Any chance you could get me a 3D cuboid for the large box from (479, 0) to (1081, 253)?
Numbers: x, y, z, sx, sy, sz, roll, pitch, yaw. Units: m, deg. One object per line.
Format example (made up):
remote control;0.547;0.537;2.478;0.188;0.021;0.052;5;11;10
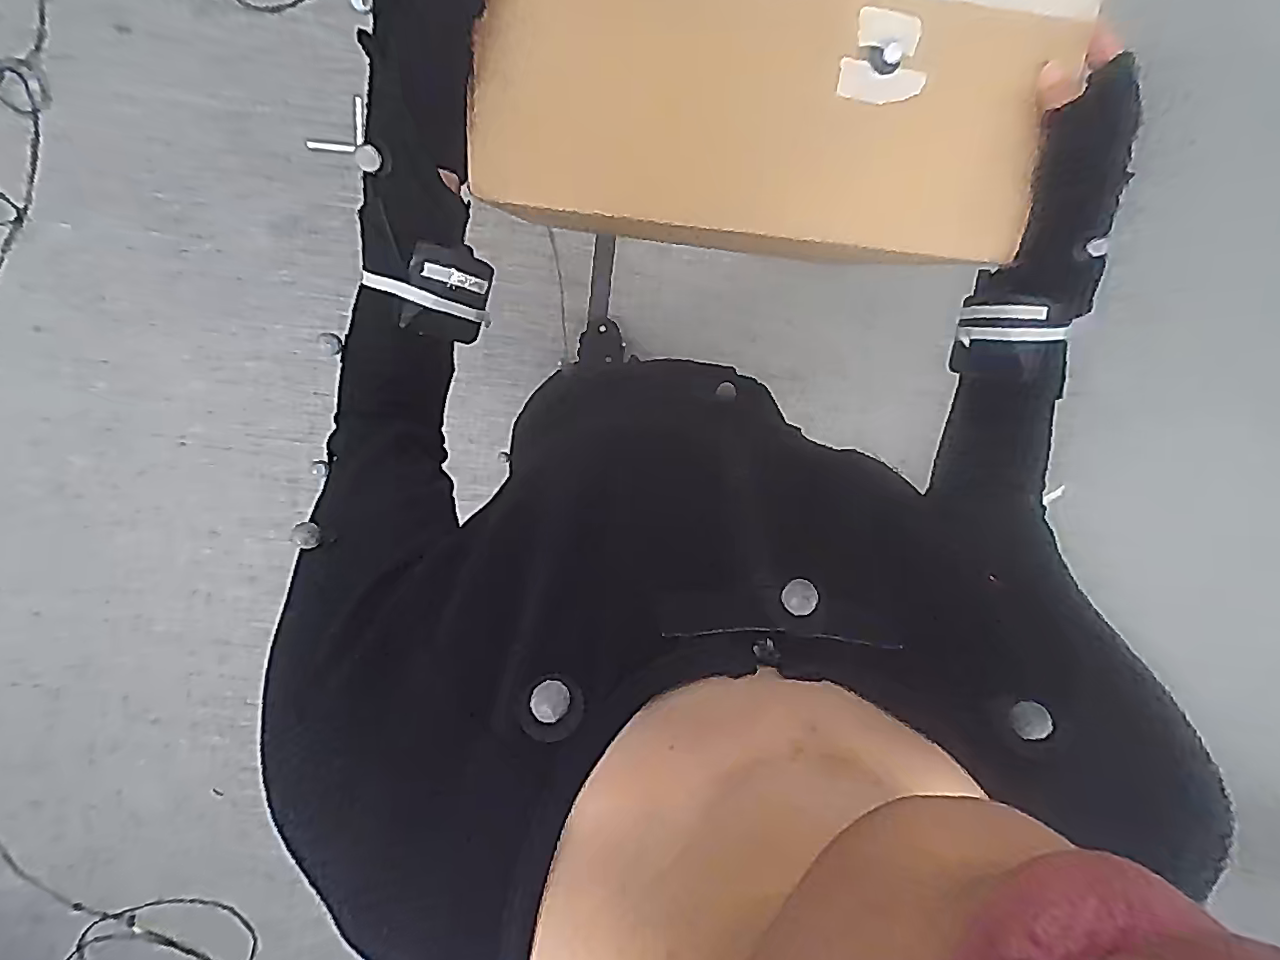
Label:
large box;0.087;-0.387;0.480;0.408;0.320;0.320;4;112;-6
